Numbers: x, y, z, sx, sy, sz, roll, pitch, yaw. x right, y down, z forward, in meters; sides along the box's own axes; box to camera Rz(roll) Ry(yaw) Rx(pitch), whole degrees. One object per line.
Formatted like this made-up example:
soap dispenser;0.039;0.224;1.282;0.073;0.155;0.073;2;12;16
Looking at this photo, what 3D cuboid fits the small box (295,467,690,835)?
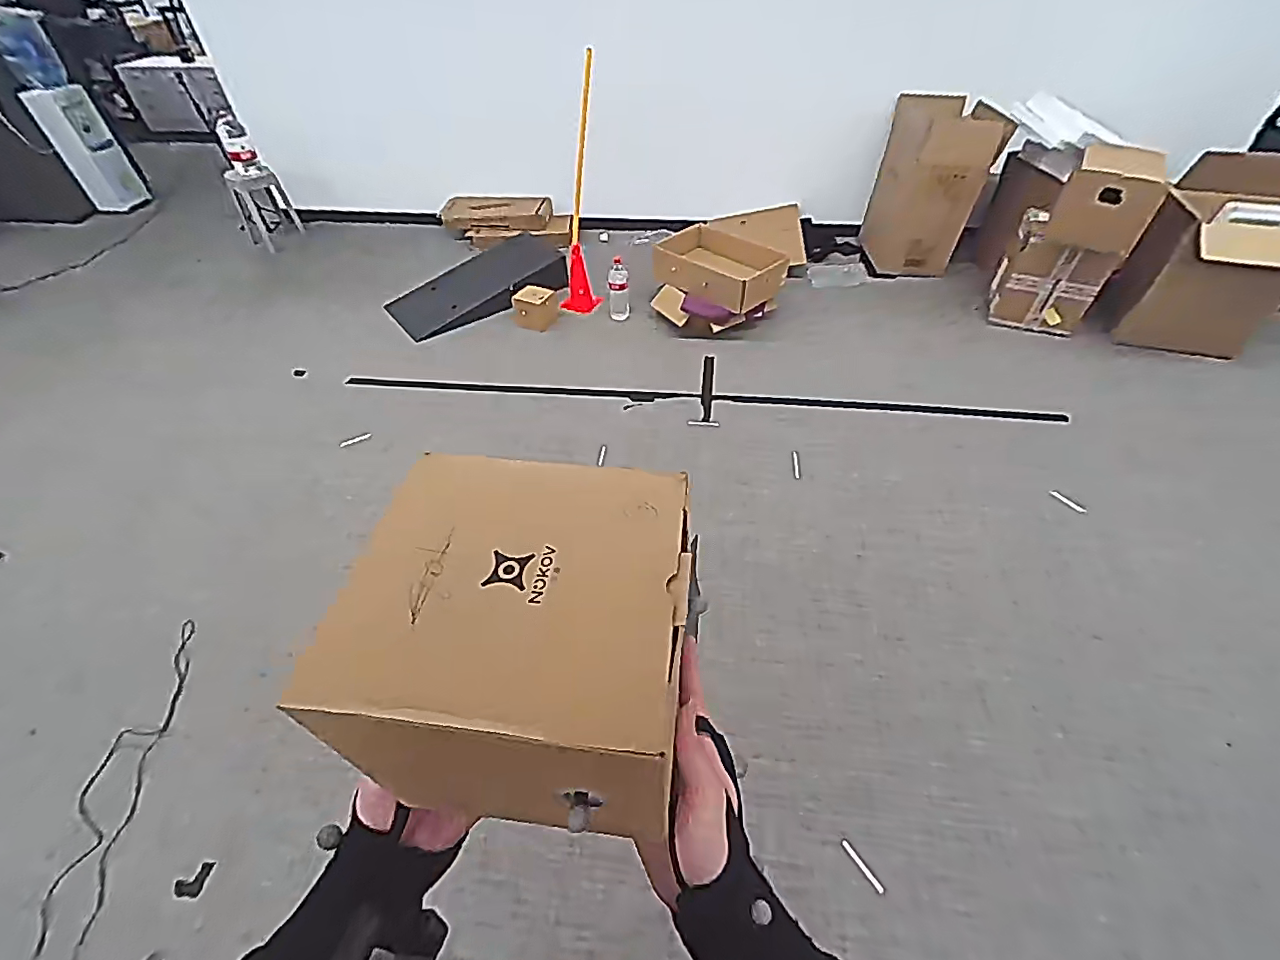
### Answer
small box;-0.062;0.112;0.351;0.179;0.176;0.168;3;45;7
